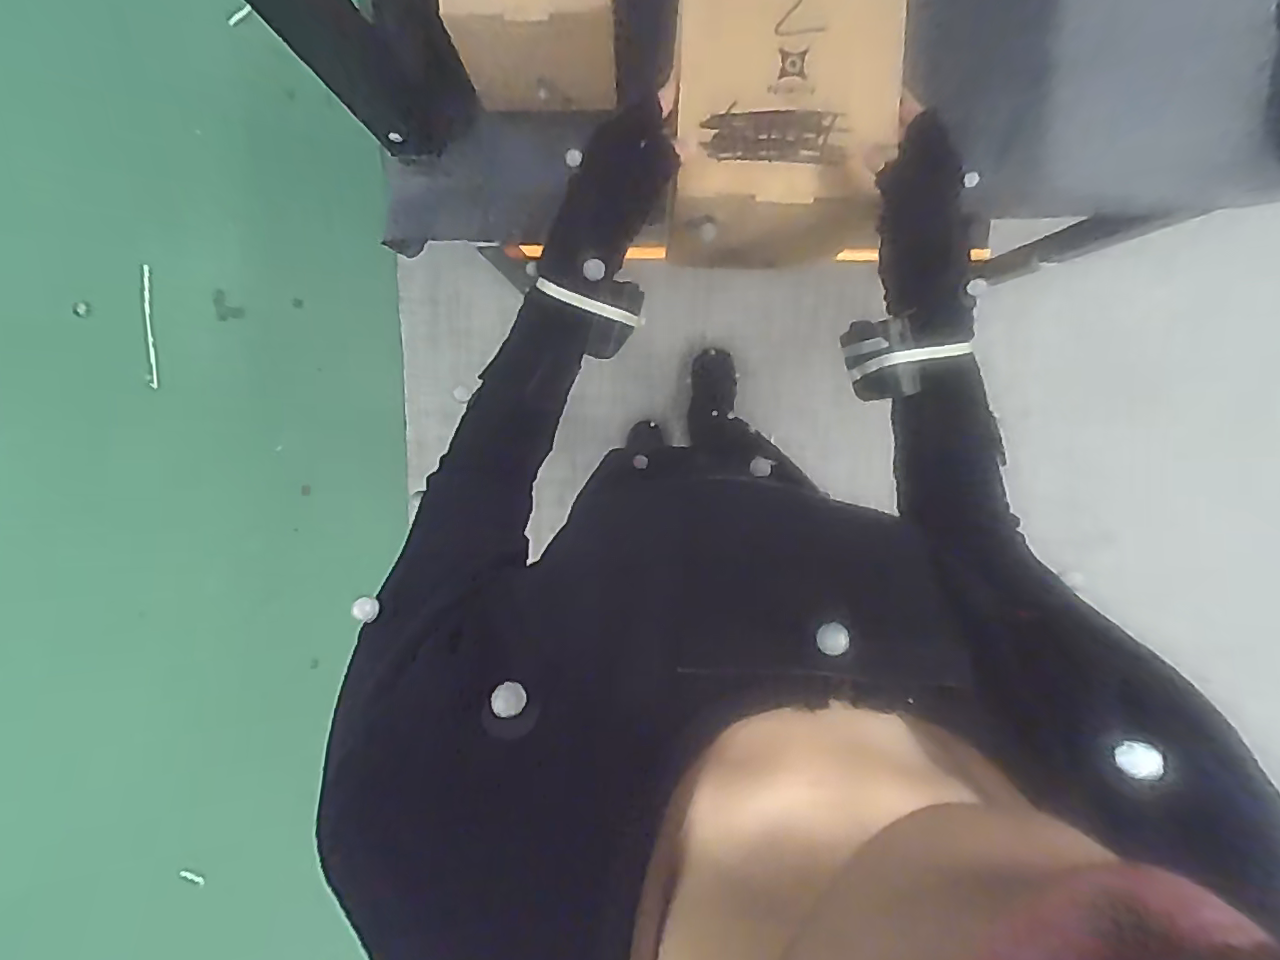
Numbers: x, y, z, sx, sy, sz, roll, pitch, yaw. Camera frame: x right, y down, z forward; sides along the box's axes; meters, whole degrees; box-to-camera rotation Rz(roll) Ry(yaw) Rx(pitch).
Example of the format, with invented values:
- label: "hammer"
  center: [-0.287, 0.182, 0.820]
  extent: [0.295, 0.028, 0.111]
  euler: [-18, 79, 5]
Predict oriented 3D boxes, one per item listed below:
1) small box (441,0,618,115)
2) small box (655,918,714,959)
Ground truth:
- label: "small box"
  center: [-0.111, -0.536, 0.588]
  extent: [0.168, 0.176, 0.179]
  euler: [-1, 97, 0]
- label: "small box"
  center: [0.131, 1.430, 1.573]
  extent: [0.168, 0.176, 0.179]
  euler: [-2, 96, -2]
